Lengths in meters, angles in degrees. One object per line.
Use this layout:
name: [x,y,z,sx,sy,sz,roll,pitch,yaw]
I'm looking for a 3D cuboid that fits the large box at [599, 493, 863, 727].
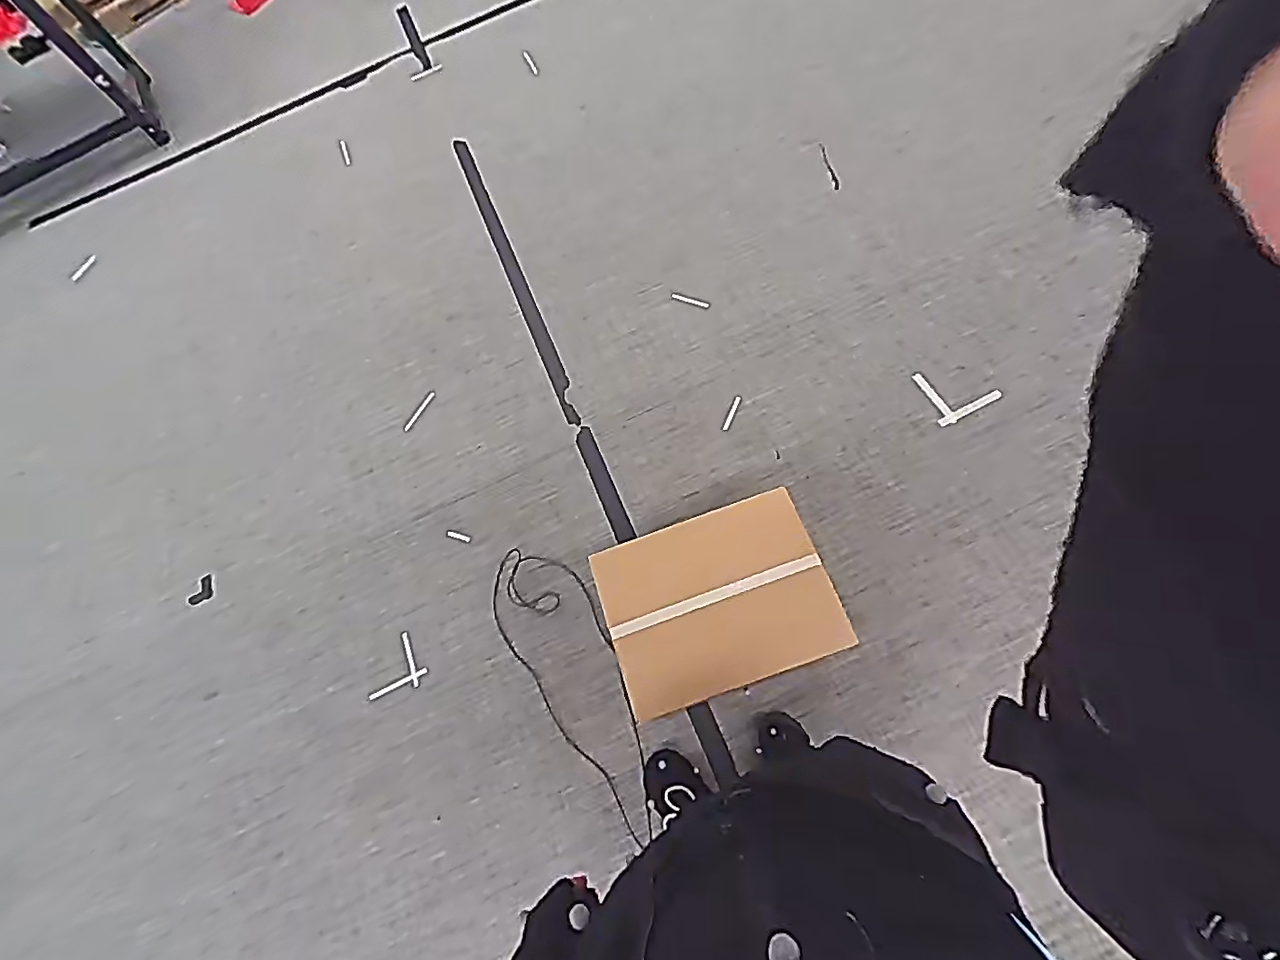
large box: [0.171,0.281,1.114,0.408,0.320,0.320,-20,67,0]
